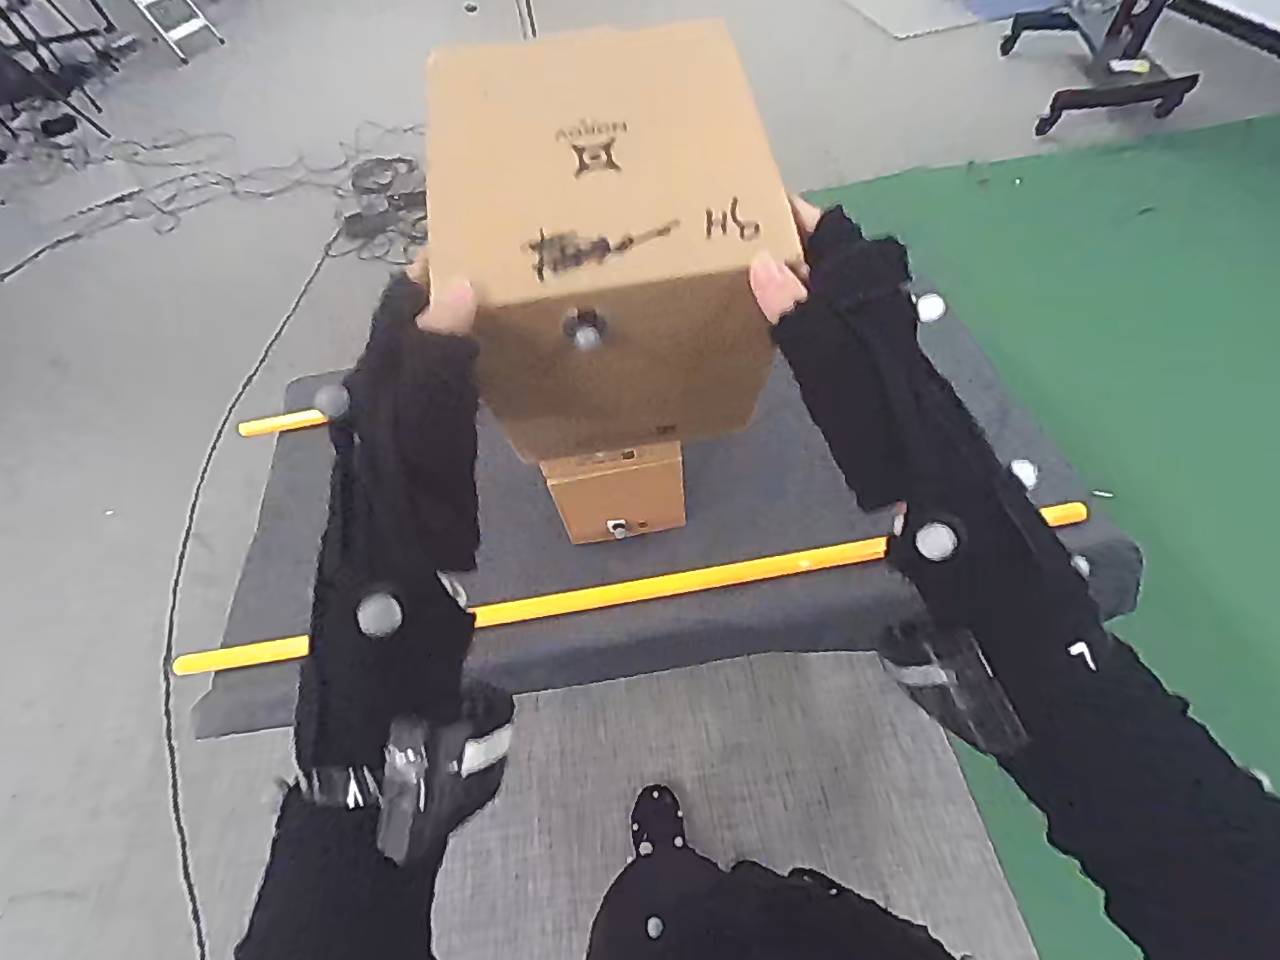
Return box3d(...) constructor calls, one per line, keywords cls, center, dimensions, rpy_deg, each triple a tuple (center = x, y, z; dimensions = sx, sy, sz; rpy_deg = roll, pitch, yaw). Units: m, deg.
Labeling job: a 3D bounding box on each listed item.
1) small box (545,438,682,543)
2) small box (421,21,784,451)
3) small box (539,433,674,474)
box3d(cls="small box", center=(-0.038, -0.035, 0.762), dimensions=(0.168, 0.176, 0.179), rpy_deg=(-12, 56, 0))
box3d(cls="small box", center=(-0.023, -0.140, 0.346), dimensions=(0.168, 0.176, 0.179), rpy_deg=(-9, 68, 0))
box3d(cls="small box", center=(-0.053, -0.132, 0.630), dimensions=(0.168, 0.176, 0.179), rpy_deg=(-8, 56, 2))
